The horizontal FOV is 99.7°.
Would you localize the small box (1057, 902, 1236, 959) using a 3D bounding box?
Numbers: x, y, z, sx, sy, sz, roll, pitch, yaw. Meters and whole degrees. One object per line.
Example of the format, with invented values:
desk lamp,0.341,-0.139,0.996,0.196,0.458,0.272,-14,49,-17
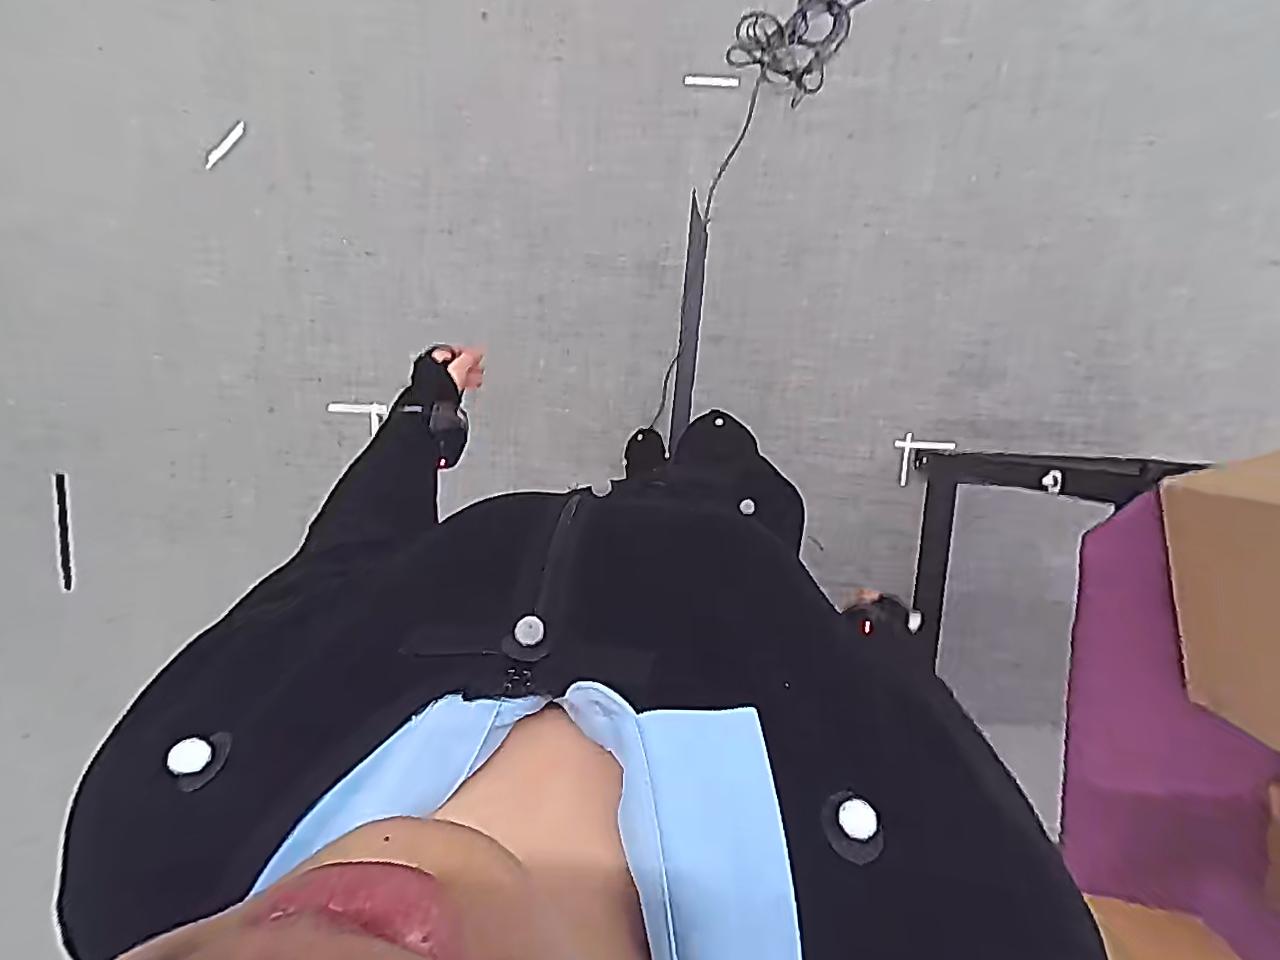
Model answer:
small box,0.677,0.685,0.683,0.179,0.176,0.168,9,97,4
